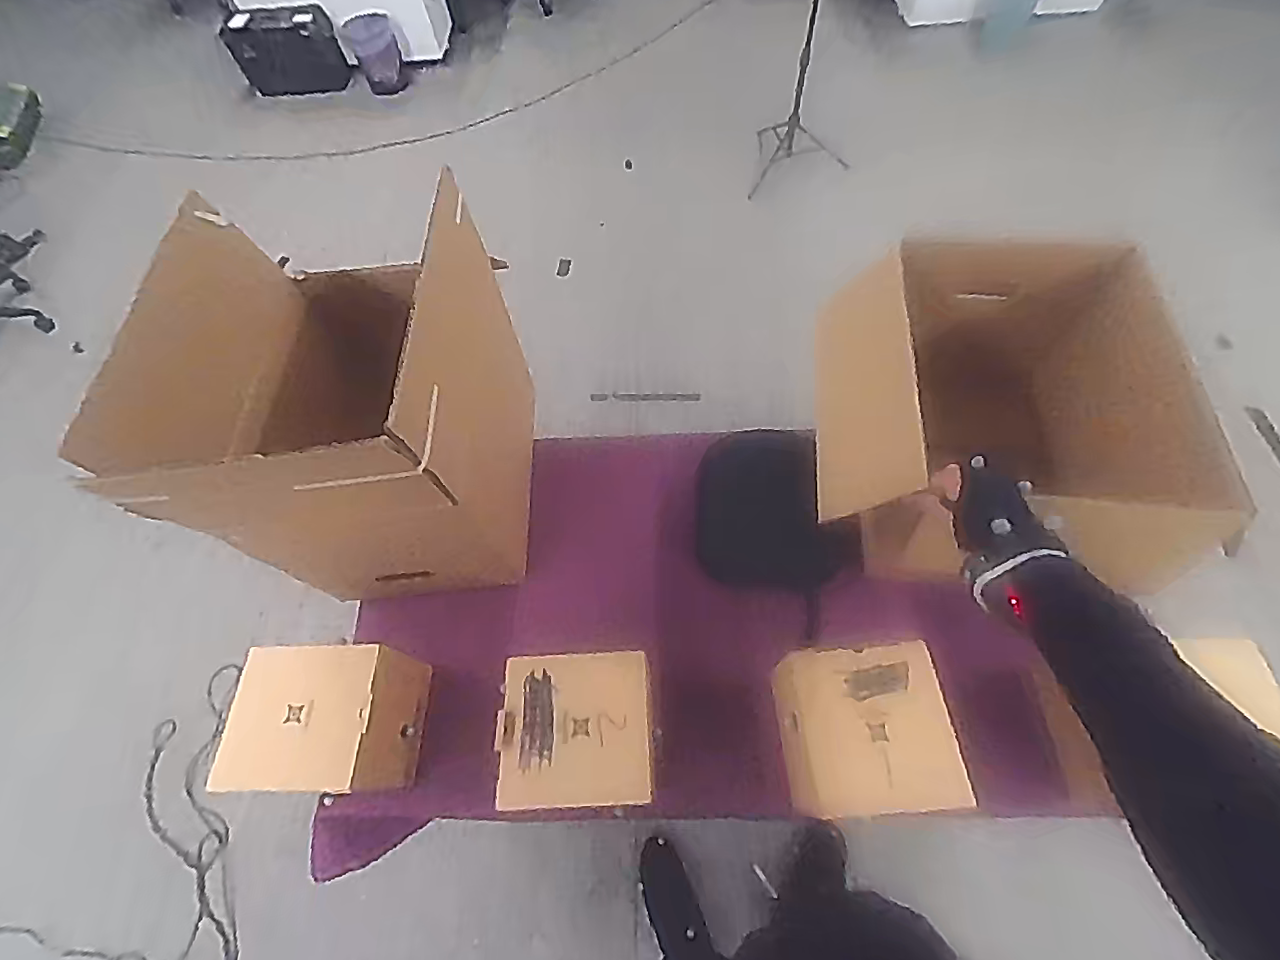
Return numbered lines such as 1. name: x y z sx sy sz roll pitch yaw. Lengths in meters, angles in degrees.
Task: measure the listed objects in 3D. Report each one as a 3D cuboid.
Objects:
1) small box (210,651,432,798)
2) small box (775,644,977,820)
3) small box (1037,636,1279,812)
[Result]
1. small box: -0.407 0.332 0.727 0.179 0.176 0.168 -2 61 2
2. small box: 0.275 0.317 0.681 0.168 0.176 0.179 -6 62 2
3. small box: 0.634 0.299 0.659 0.168 0.176 0.179 -2 61 5
